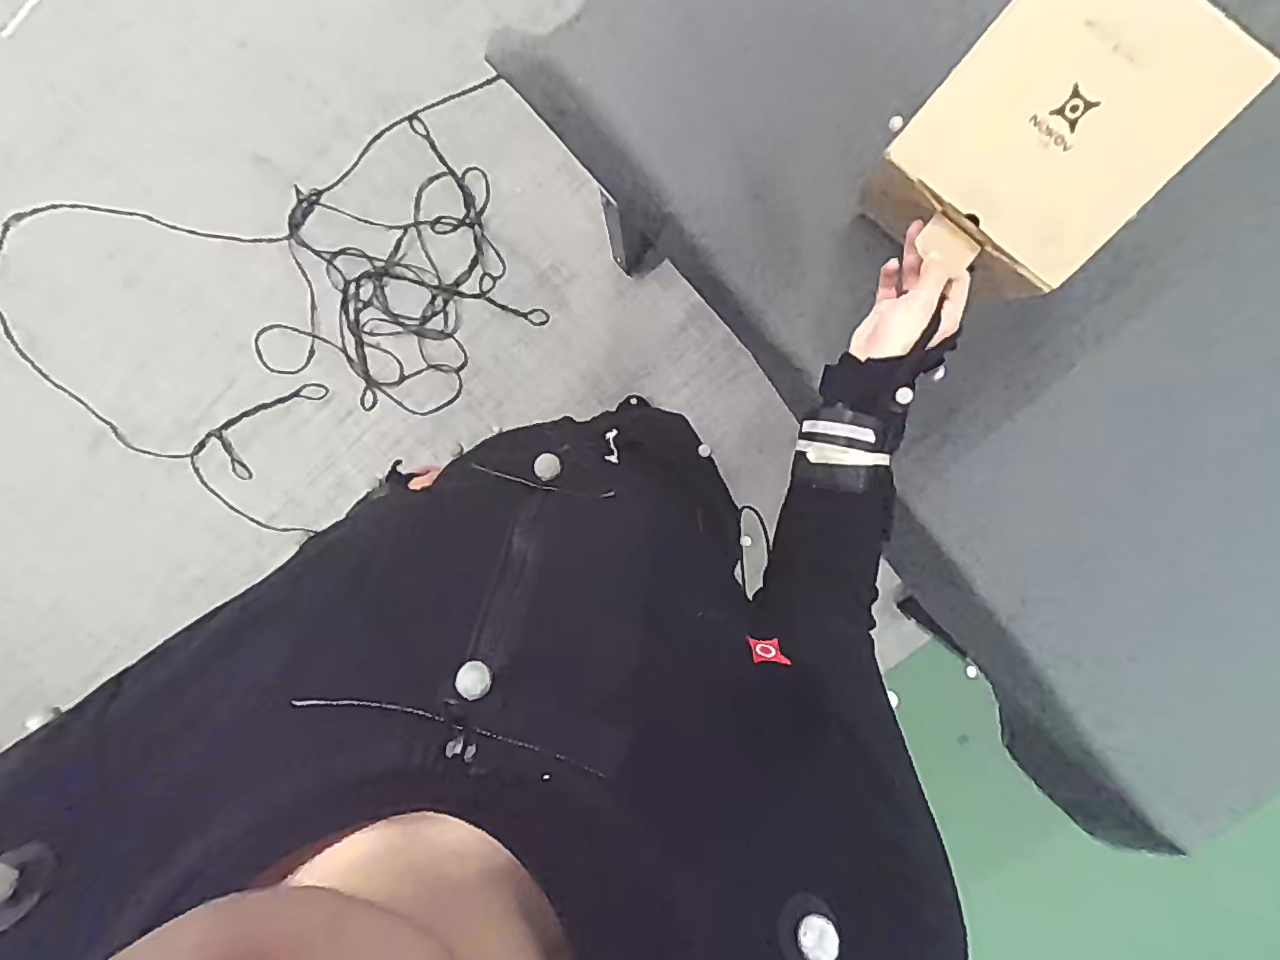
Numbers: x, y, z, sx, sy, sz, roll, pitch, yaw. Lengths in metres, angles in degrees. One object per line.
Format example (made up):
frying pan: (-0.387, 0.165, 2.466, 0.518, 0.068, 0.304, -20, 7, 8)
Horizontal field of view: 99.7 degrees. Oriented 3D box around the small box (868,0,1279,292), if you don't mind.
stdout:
small box: (0.312, -0.274, 0.442, 0.168, 0.176, 0.179, 39, 109, -1)
